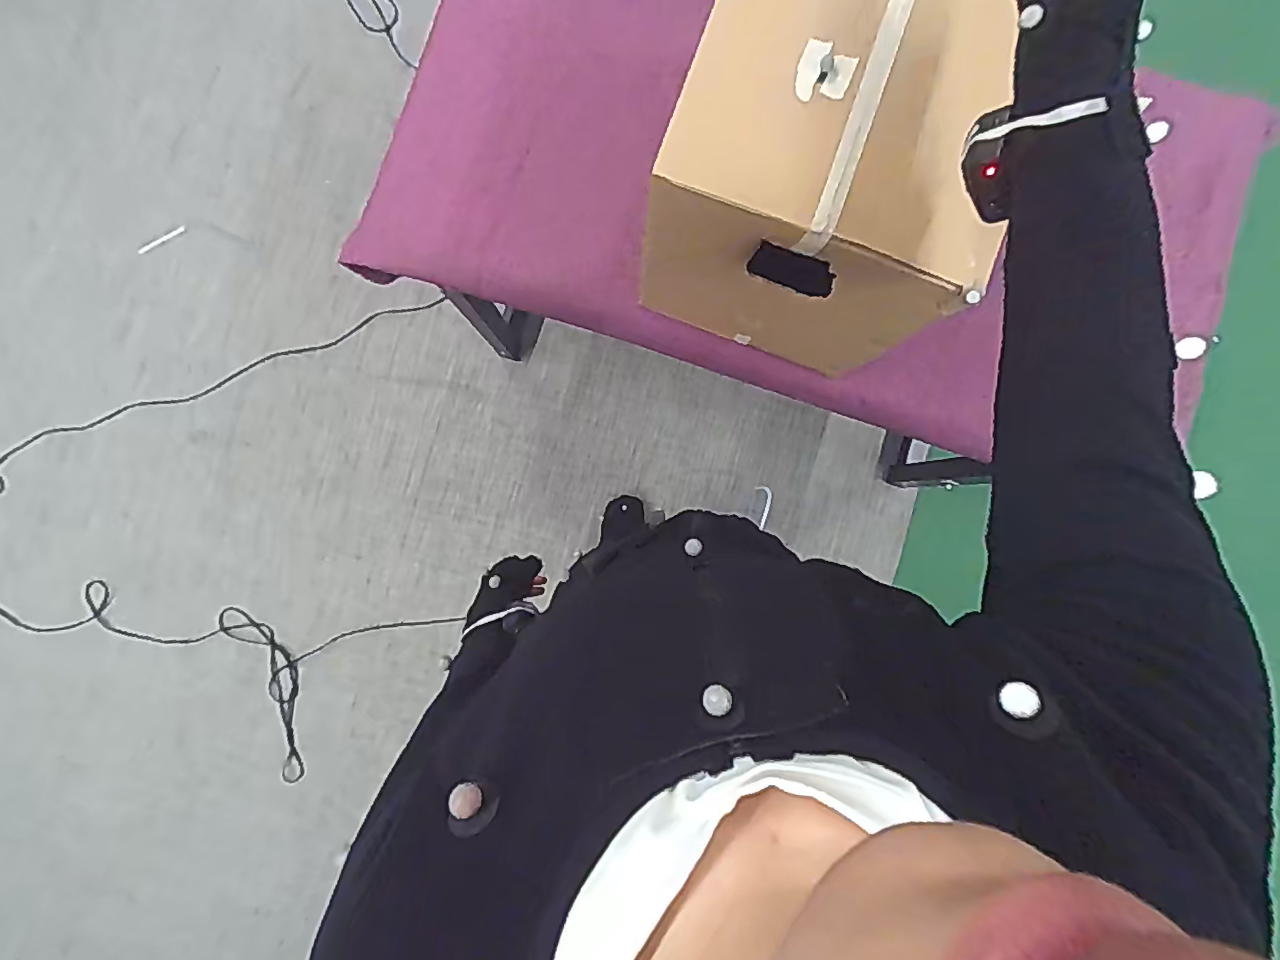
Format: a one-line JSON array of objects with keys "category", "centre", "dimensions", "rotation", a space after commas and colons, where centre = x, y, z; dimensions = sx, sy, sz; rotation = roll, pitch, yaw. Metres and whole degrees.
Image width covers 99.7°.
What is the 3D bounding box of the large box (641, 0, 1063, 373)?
[{"category": "large box", "centre": [0.213, -0.396, 0.651], "dimensions": [0.320, 0.320, 0.408], "rotation": [20, 87, -1]}]
